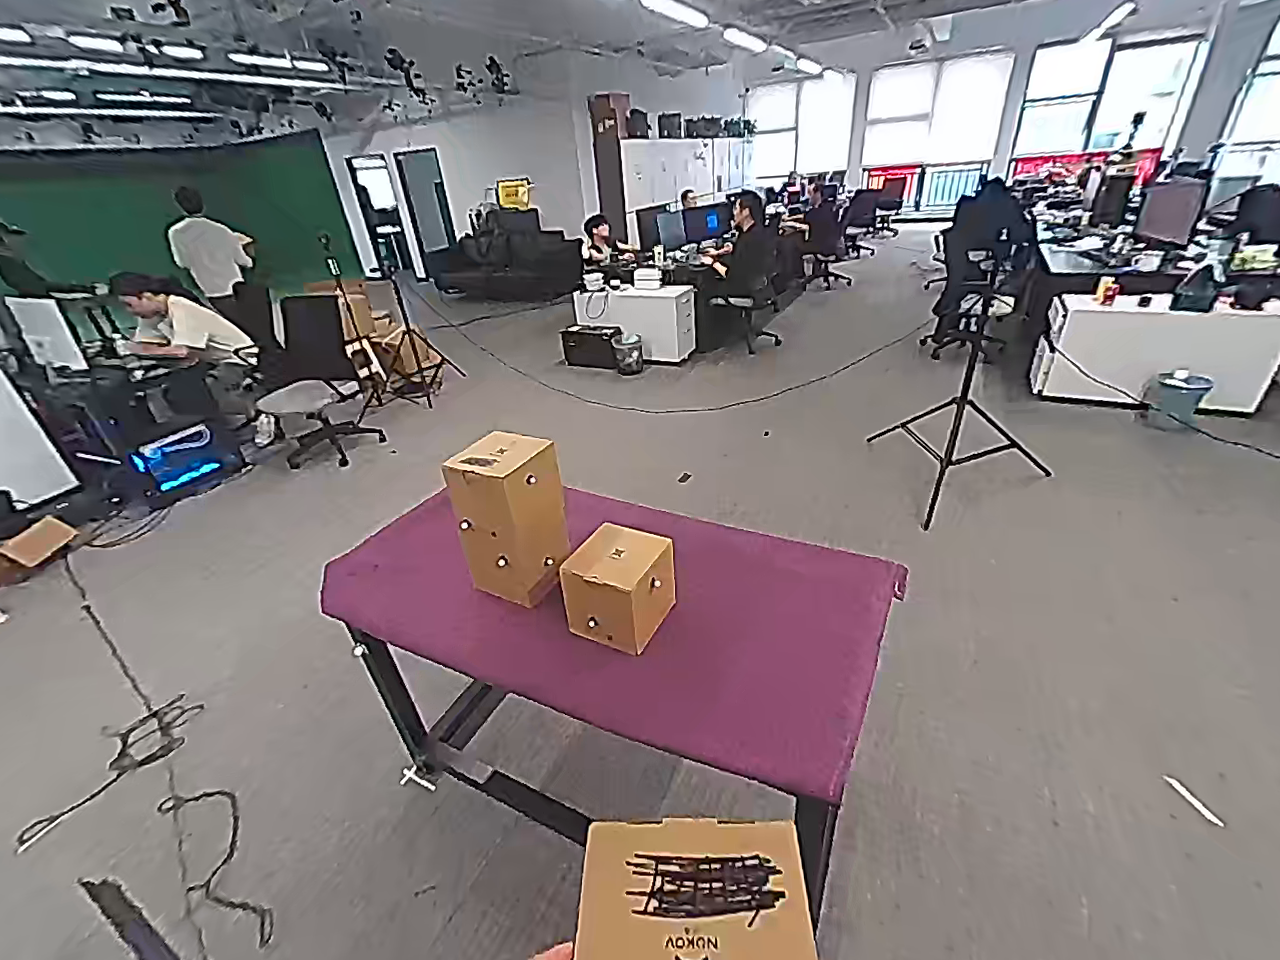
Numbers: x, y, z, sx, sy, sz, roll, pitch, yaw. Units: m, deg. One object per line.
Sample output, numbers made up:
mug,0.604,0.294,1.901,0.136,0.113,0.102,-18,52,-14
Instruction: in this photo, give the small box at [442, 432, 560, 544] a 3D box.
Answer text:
small box,-0.290,0.016,1.172,0.168,0.176,0.179,11,33,25

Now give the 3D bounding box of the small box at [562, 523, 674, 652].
small box,-0.039,0.217,1.114,0.168,0.176,0.179,11,34,27

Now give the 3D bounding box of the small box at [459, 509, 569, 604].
small box,-0.280,0.161,1.249,0.179,0.176,0.168,12,34,27
